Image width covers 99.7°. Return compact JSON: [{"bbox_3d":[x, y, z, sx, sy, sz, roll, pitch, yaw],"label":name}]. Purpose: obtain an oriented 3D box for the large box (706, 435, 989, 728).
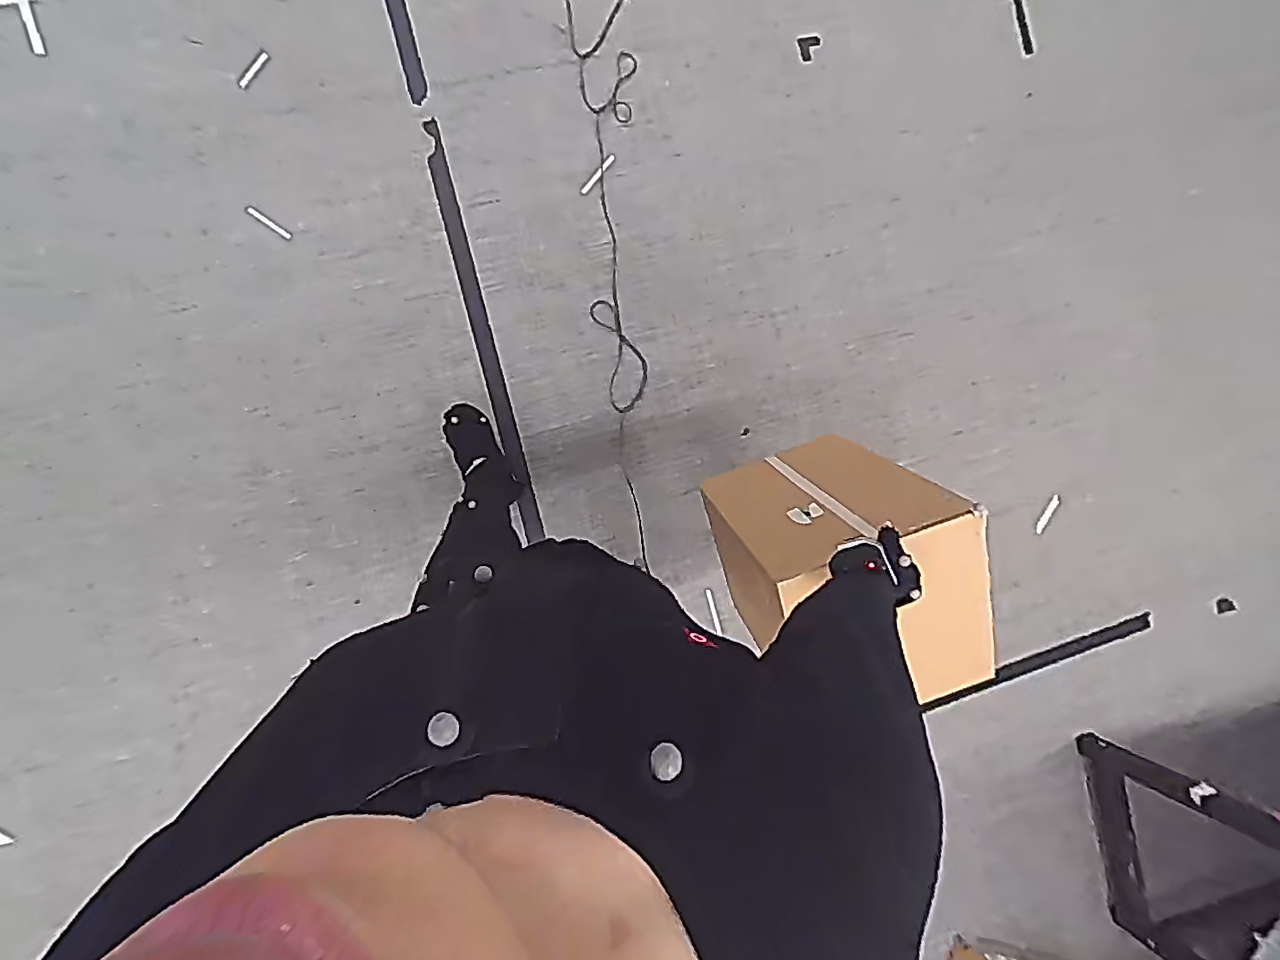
[{"bbox_3d":[0.352,0.153,0.992,0.320,0.408,0.320,-20,113,-3],"label":"large box"}]
